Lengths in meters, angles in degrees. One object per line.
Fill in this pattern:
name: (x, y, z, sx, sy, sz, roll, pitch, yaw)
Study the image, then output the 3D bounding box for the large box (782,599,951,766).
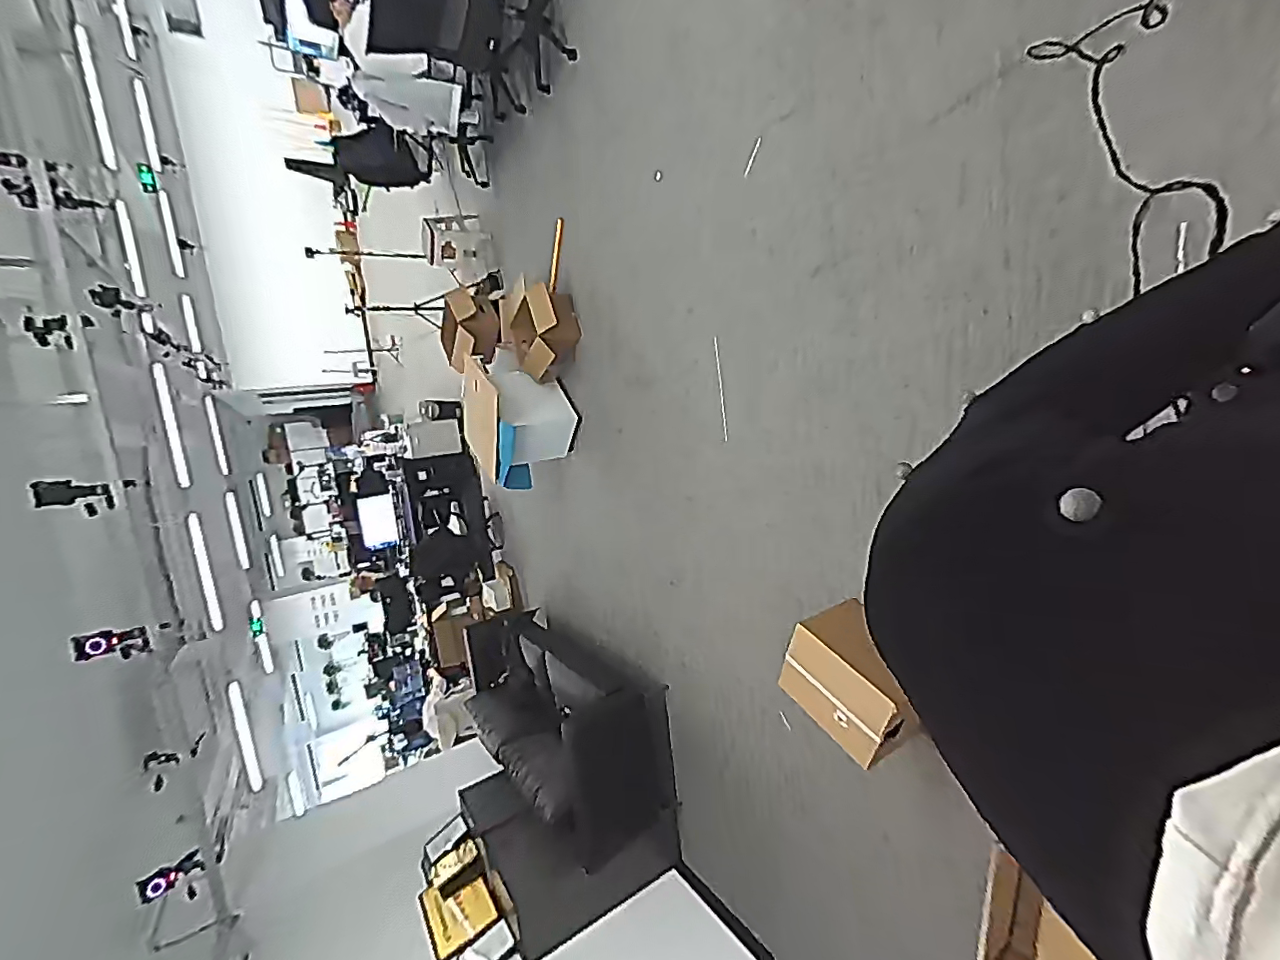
large box: (0.777, 0.685, 1.898, 0.408, 0.320, 0.320, 38, 131, 45)
